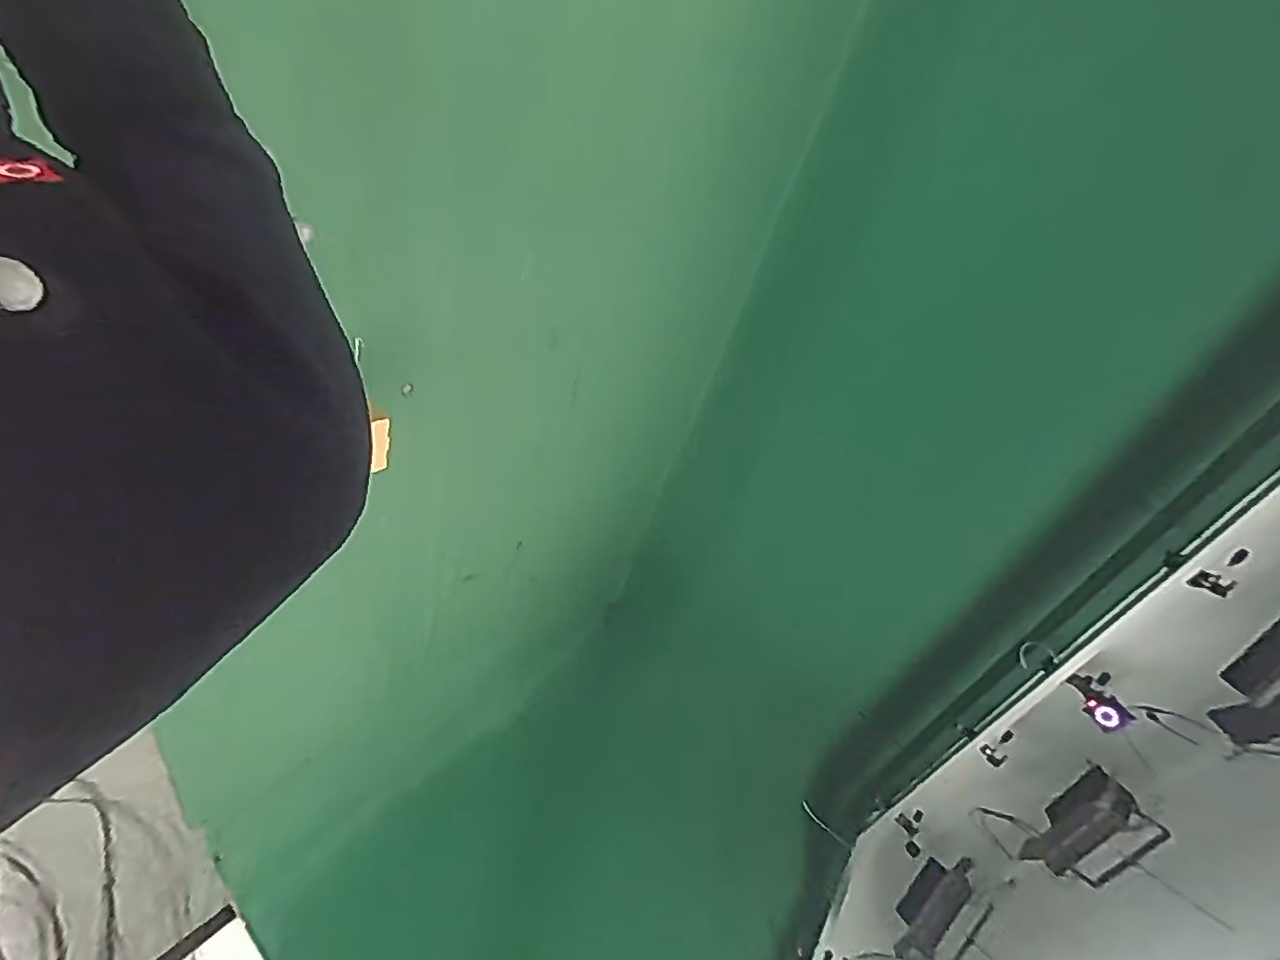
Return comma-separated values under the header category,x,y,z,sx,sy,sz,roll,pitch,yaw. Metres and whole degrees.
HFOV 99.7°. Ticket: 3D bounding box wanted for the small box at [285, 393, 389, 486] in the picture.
category,x,y,z,sx,sy,sz,roll,pitch,yaw
small box,-0.788,-0.116,1.409,0.179,0.176,0.168,-28,145,-50
